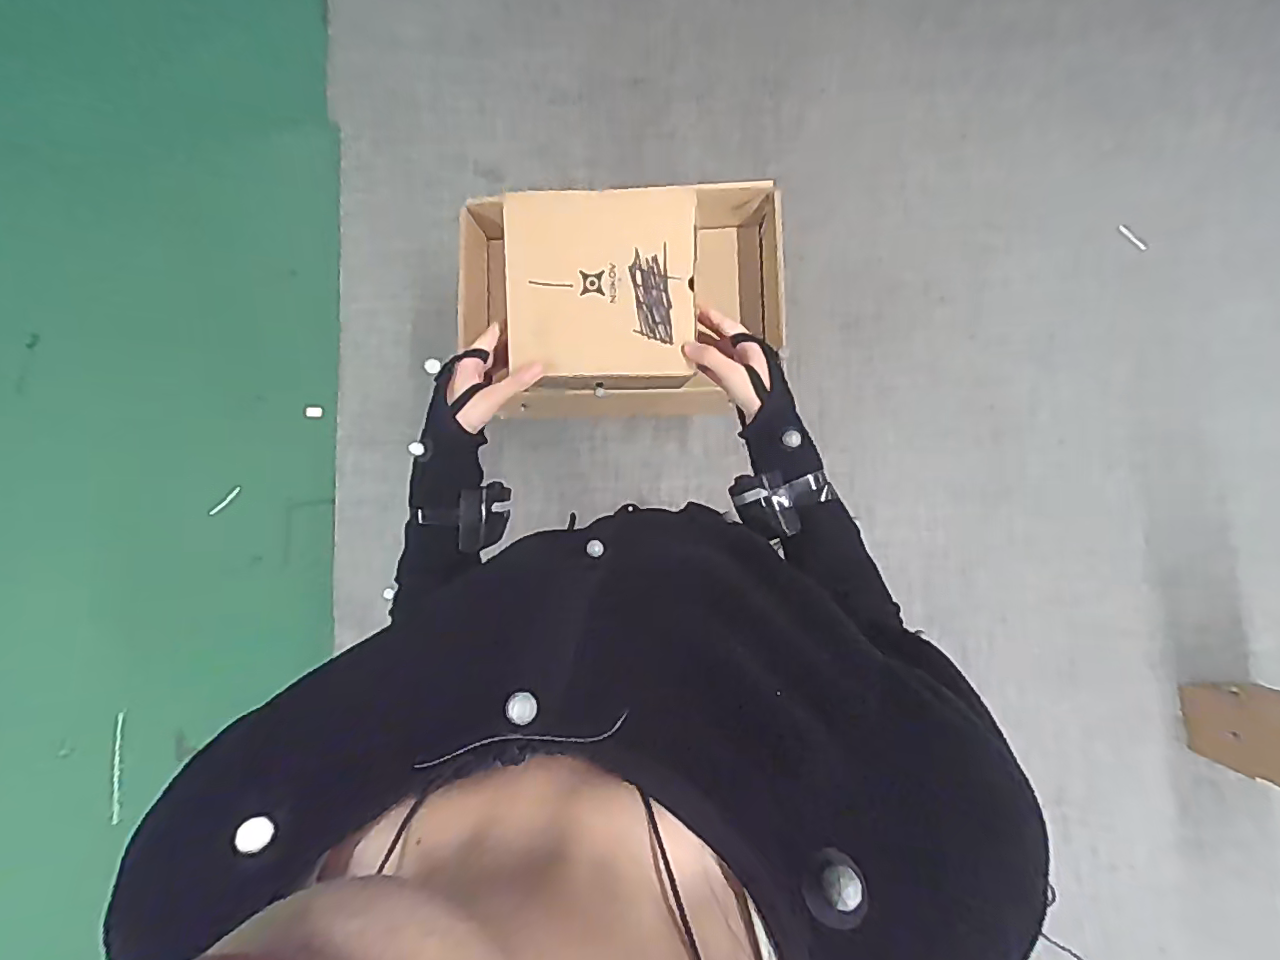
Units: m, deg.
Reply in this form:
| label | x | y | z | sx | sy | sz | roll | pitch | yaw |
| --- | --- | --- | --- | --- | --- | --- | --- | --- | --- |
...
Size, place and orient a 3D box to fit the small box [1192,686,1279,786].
| label | x | y | z | sx | sy | sz | roll | pitch | yaw |
| --- | --- | --- | --- | --- | --- | --- | --- | --- | --- |
| small box | 1.481 | 0.600 | 1.289 | 0.168 | 0.176 | 0.179 | -4 | 85 | 4 |
